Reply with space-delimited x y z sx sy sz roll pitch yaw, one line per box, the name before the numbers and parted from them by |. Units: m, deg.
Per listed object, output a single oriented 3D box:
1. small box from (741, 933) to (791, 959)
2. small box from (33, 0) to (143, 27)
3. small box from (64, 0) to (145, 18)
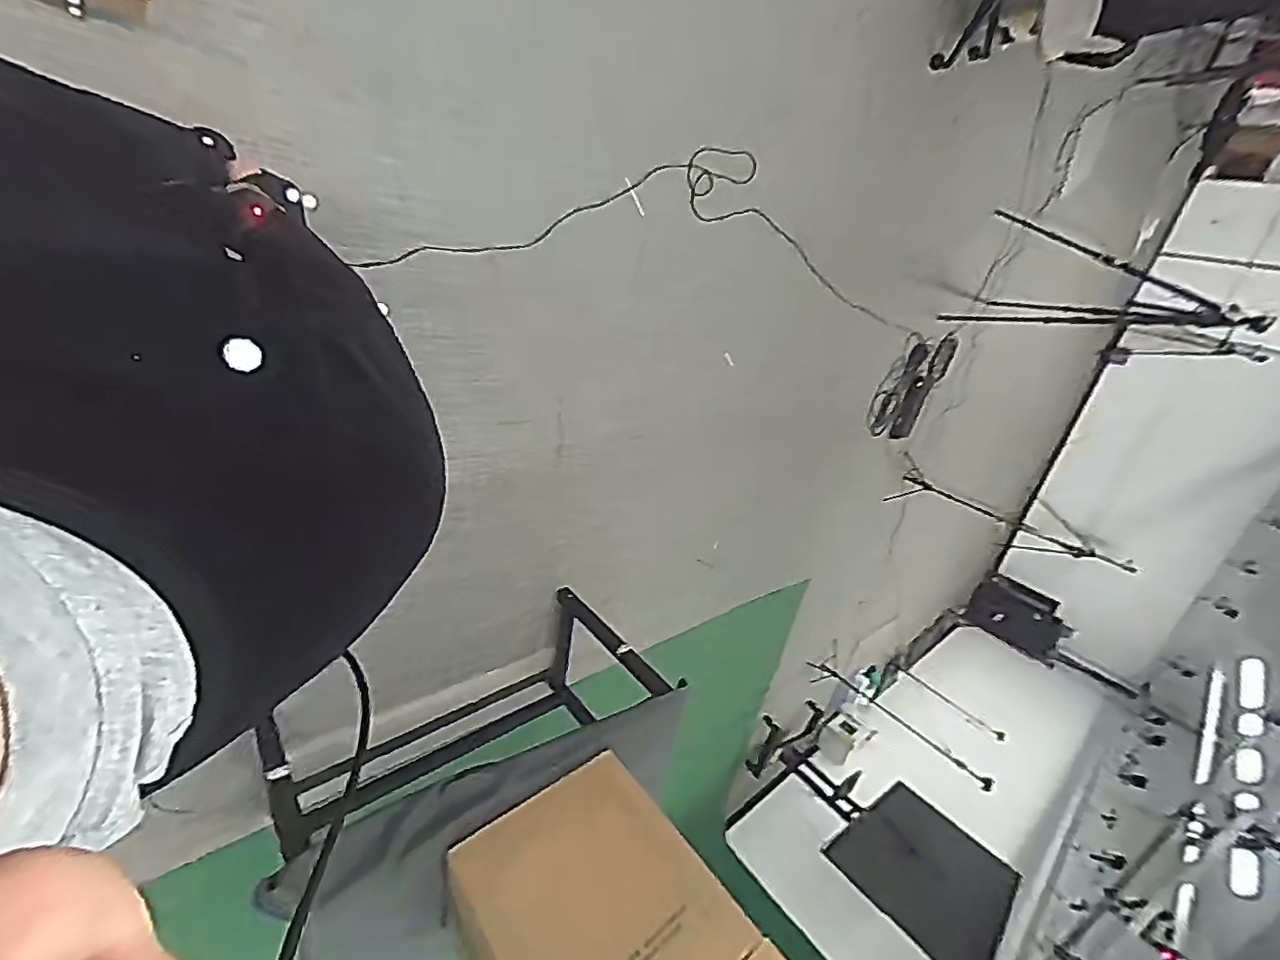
small box | 0.292 1.232 1.266 0.179 0.176 0.168 -11 121 -44
small box | -0.907 -0.849 0.842 0.168 0.176 0.179 -12 124 -39
small box | -0.806 -0.774 0.736 0.168 0.176 0.179 -13 123 -39
